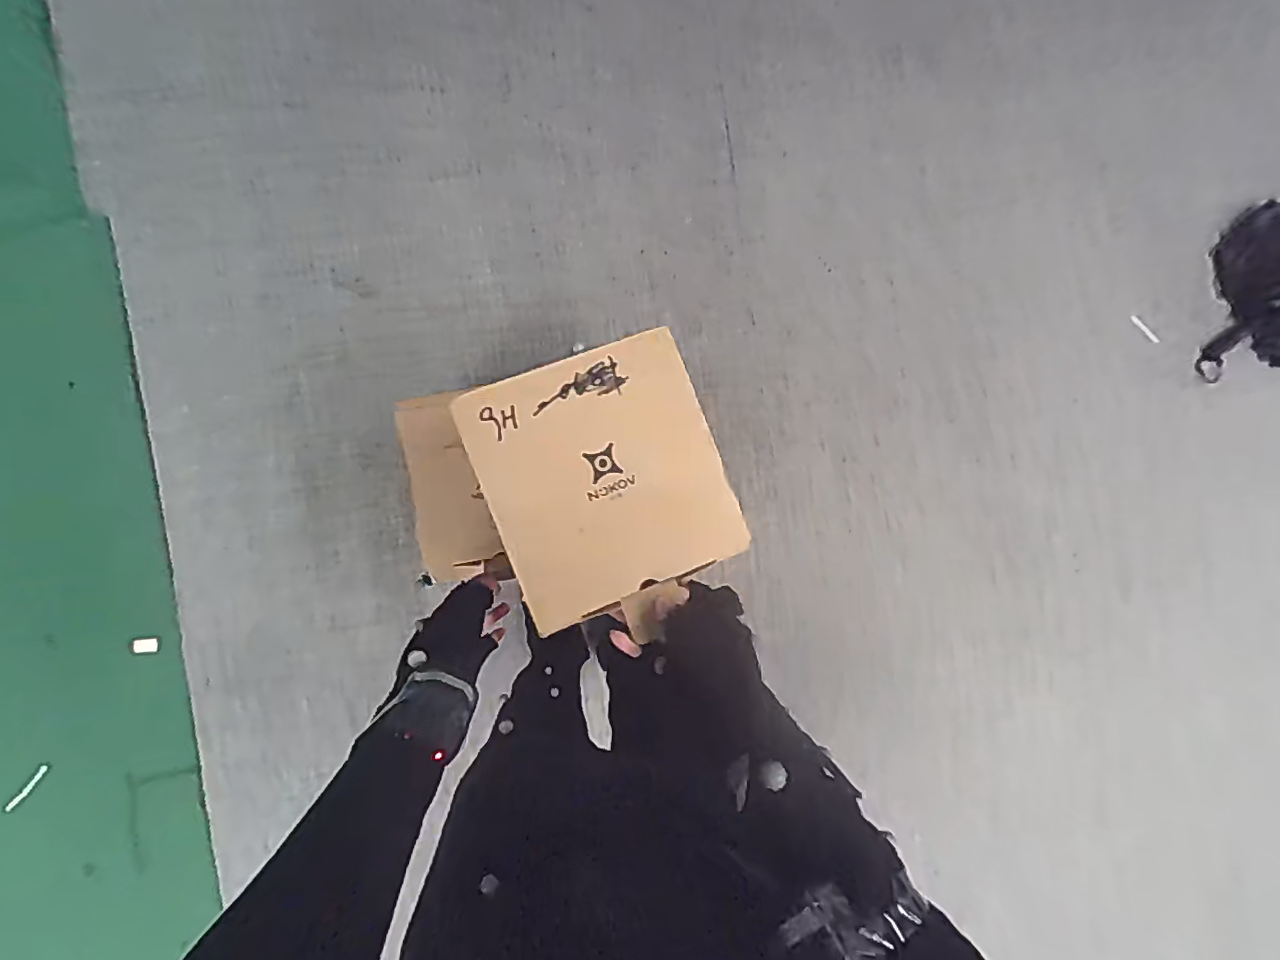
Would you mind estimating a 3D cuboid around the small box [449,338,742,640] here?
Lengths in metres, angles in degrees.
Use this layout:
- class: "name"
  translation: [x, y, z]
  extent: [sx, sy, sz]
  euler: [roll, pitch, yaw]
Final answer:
- class: "small box"
  translation: [-0.040, 0.006, 0.463]
  extent: [0.168, 0.176, 0.179]
  euler: [-22, 92, -10]

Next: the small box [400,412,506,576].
- class: "small box"
  translation: [-0.169, 0.000, 0.662]
  extent: [0.168, 0.176, 0.179]
  euler: [-10, 96, -6]
